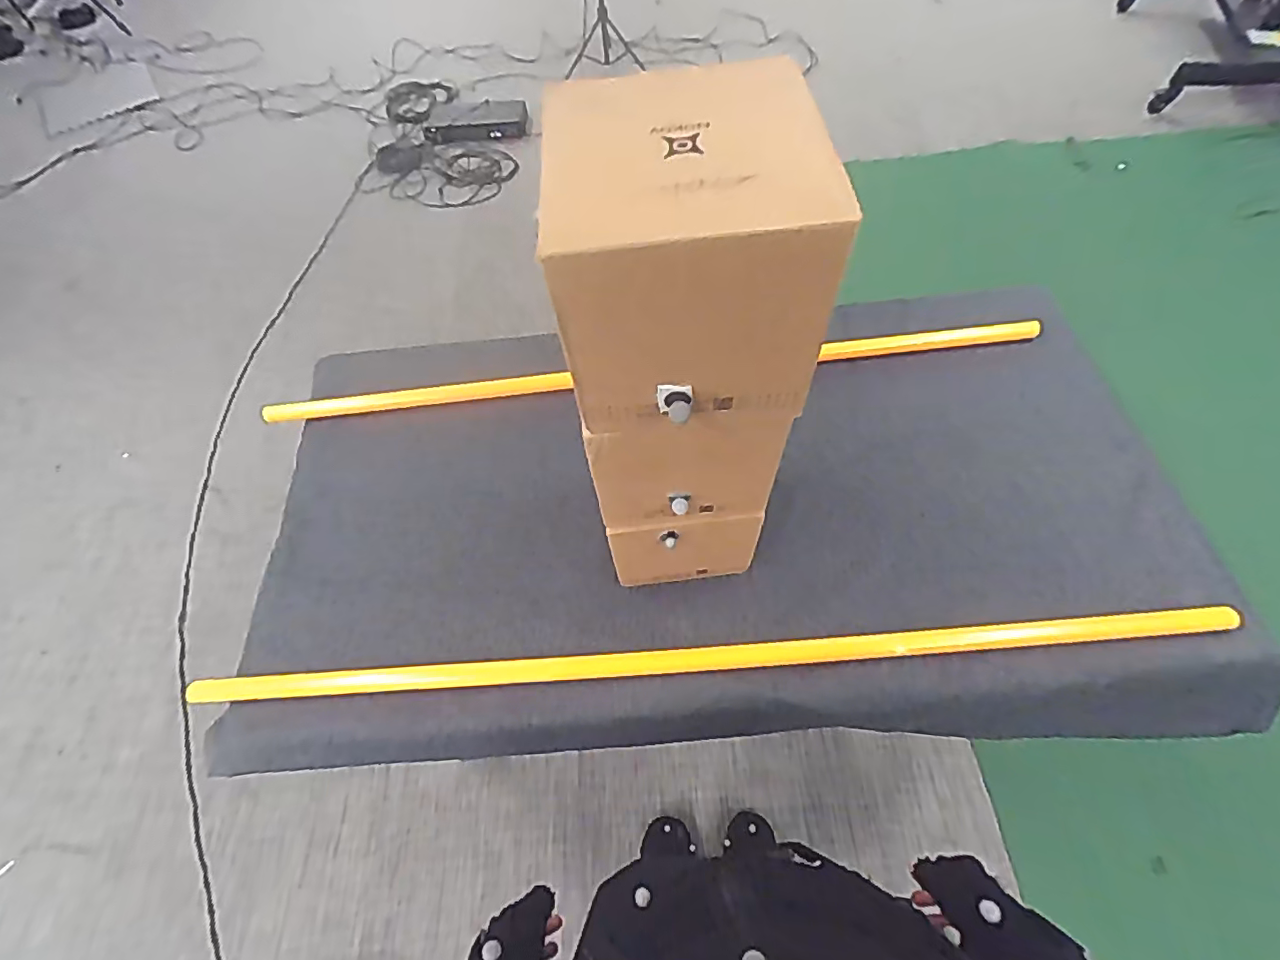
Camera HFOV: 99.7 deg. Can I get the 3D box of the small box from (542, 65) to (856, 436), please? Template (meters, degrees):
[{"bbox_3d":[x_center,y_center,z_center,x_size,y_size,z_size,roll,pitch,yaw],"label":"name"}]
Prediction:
[{"bbox_3d":[0.031,-0.154,0.389,0.168,0.176,0.179,-6,61,3],"label":"small box"}]

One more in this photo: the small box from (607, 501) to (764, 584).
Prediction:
[{"bbox_3d":[0.046,0.011,0.670,0.168,0.176,0.179,-8,59,1],"label":"small box"}]

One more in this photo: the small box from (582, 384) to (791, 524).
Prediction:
[{"bbox_3d":[0.036,-0.075,0.530,0.168,0.176,0.179,-6,60,1],"label":"small box"}]
